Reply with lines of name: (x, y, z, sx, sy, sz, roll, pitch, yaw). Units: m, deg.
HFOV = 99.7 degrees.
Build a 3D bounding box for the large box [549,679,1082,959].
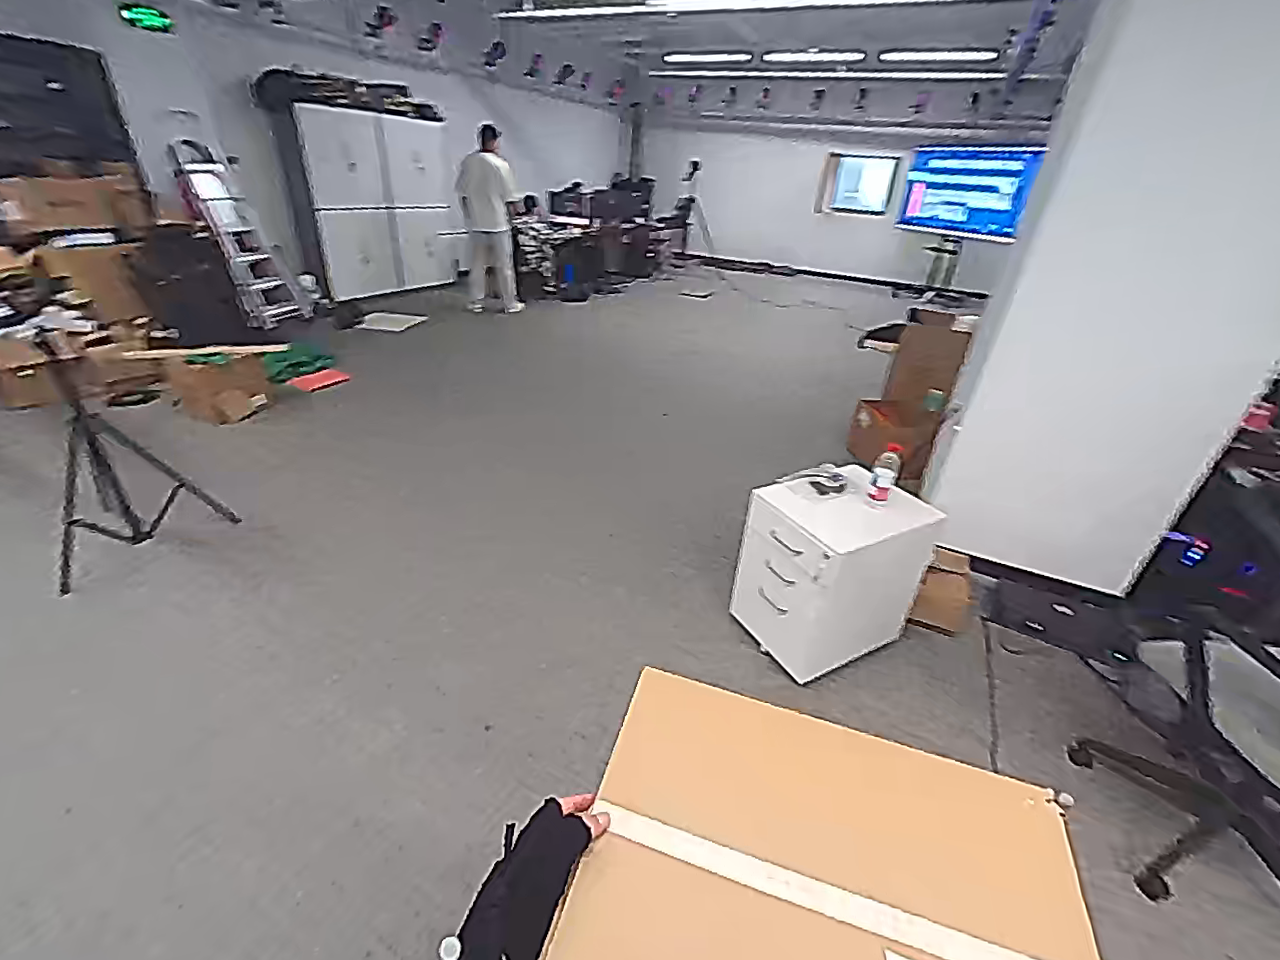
large box: (0.140, 0.465, 0.537, 0.408, 0.320, 0.320, 13, 39, 12)
